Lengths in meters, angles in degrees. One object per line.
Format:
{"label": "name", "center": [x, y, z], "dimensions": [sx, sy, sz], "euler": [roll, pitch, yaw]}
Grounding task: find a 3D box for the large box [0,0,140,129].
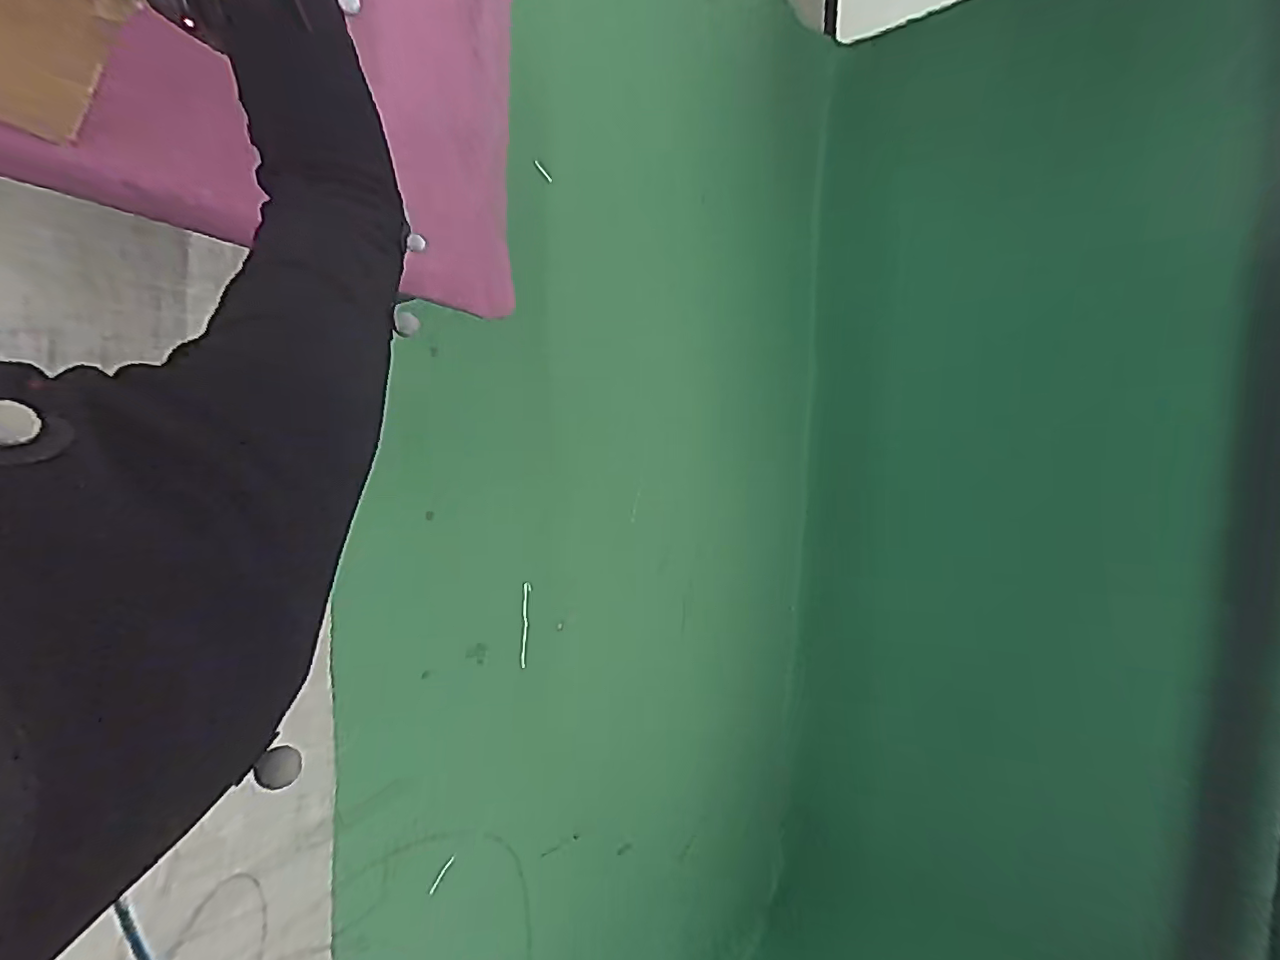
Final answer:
{"label": "large box", "center": [-0.533, -0.540, 0.332], "dimensions": [0.320, 0.320, 0.408], "euler": [4, 91, -52]}
